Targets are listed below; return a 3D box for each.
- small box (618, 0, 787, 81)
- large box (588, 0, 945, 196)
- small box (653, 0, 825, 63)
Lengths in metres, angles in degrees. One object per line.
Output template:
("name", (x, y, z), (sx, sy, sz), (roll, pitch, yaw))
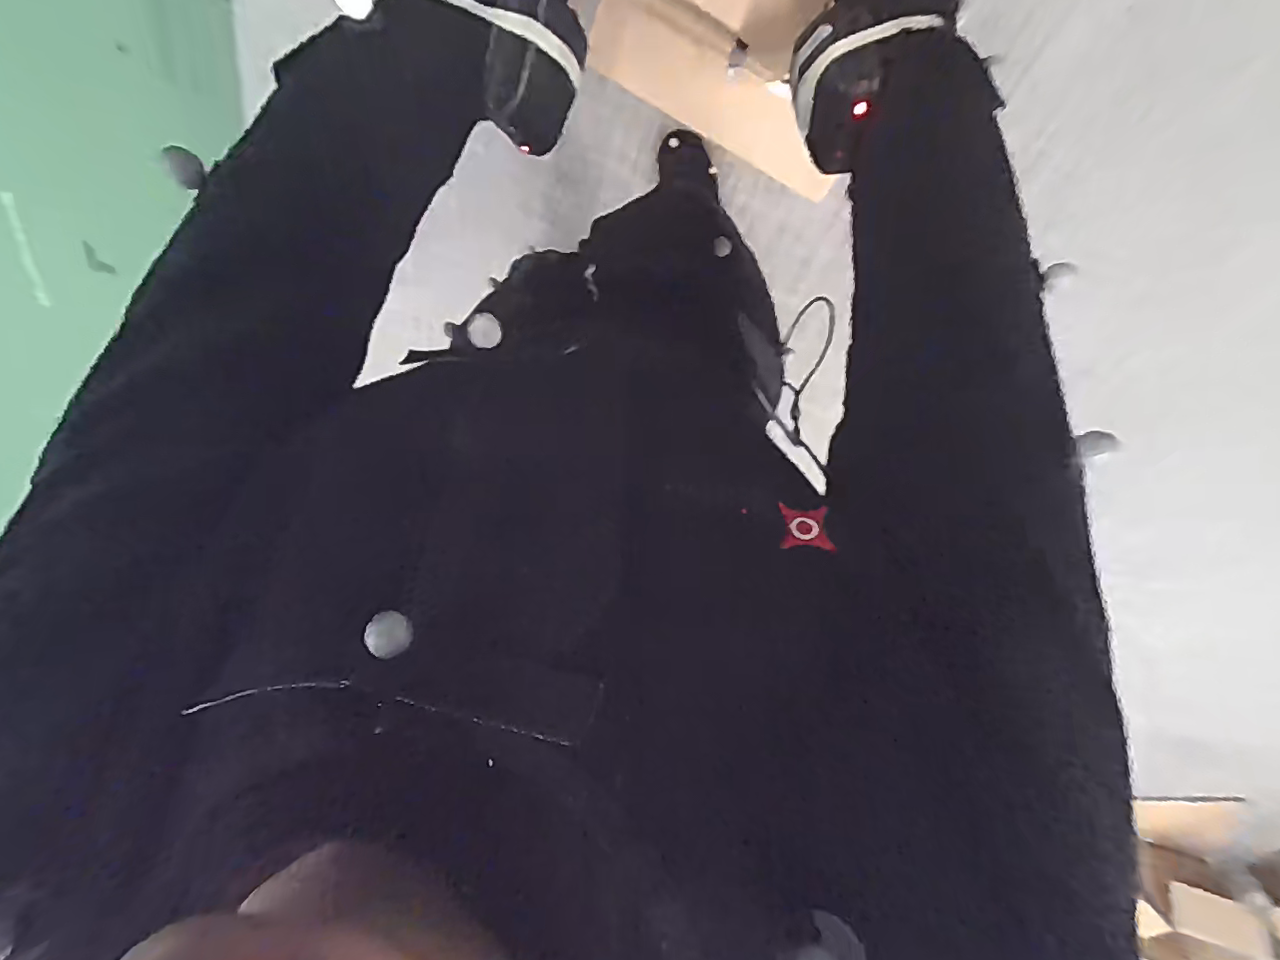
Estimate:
("small box", (0.084, -0.493, 0.487), (0.179, 0.176, 0.168), (24, 125, -6))
("large box", (0.182, -0.701, 0.821), (0.408, 0.320, 0.320), (25, 128, -9))
("small box", (0.066, -0.405, 0.353), (0.179, 0.176, 0.168), (25, 125, -9))
